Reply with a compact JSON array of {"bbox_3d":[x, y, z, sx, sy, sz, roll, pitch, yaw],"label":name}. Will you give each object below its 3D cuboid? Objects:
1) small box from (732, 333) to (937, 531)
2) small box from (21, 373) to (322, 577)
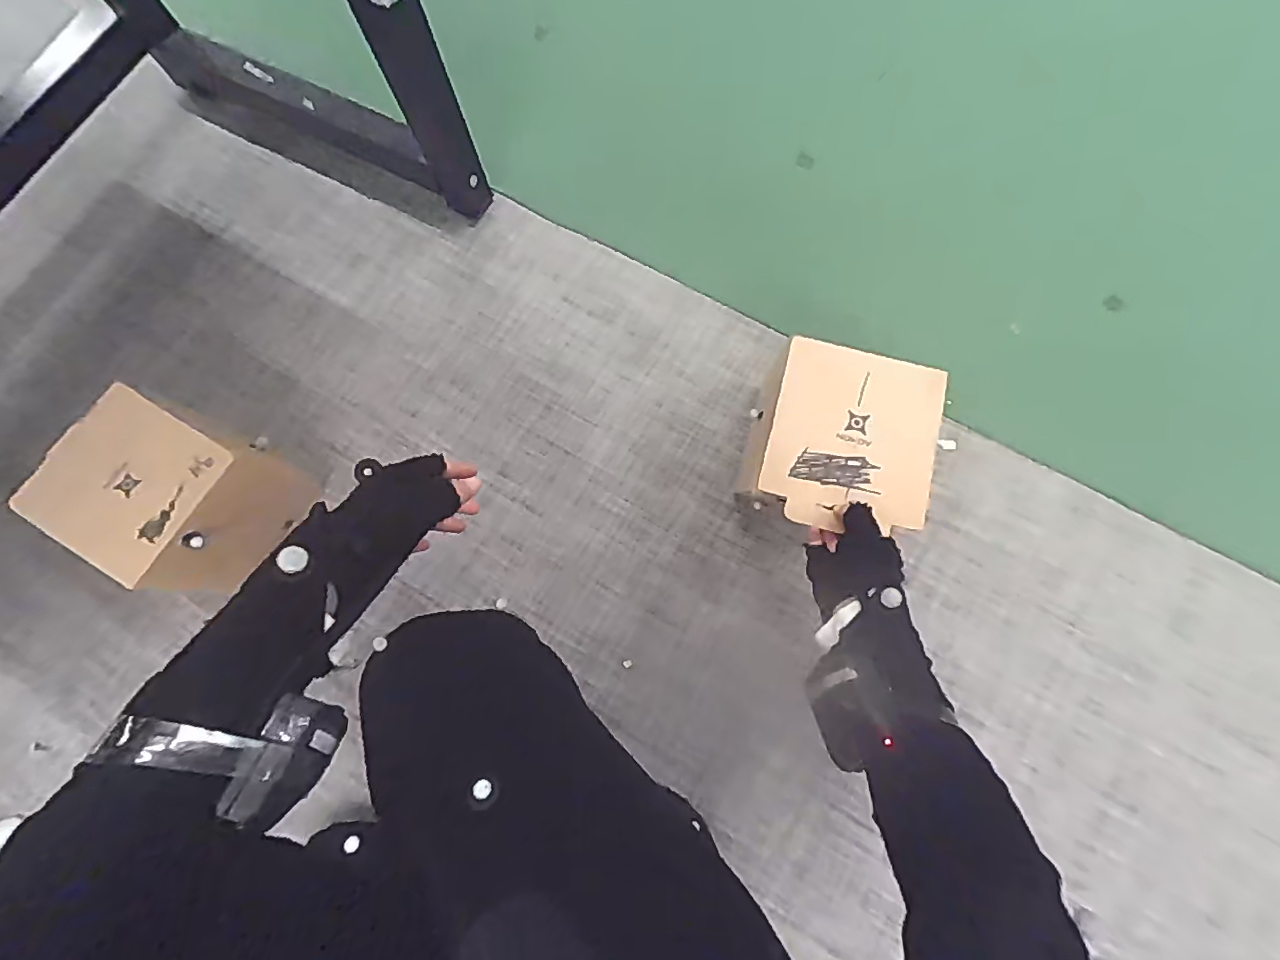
[{"bbox_3d":[0.213,-0.050,0.644,0.168,0.176,0.179,15,90,3],"label":"small box"},{"bbox_3d":[-0.543,0.007,0.654,0.179,0.176,0.168,30,80,8],"label":"small box"}]
